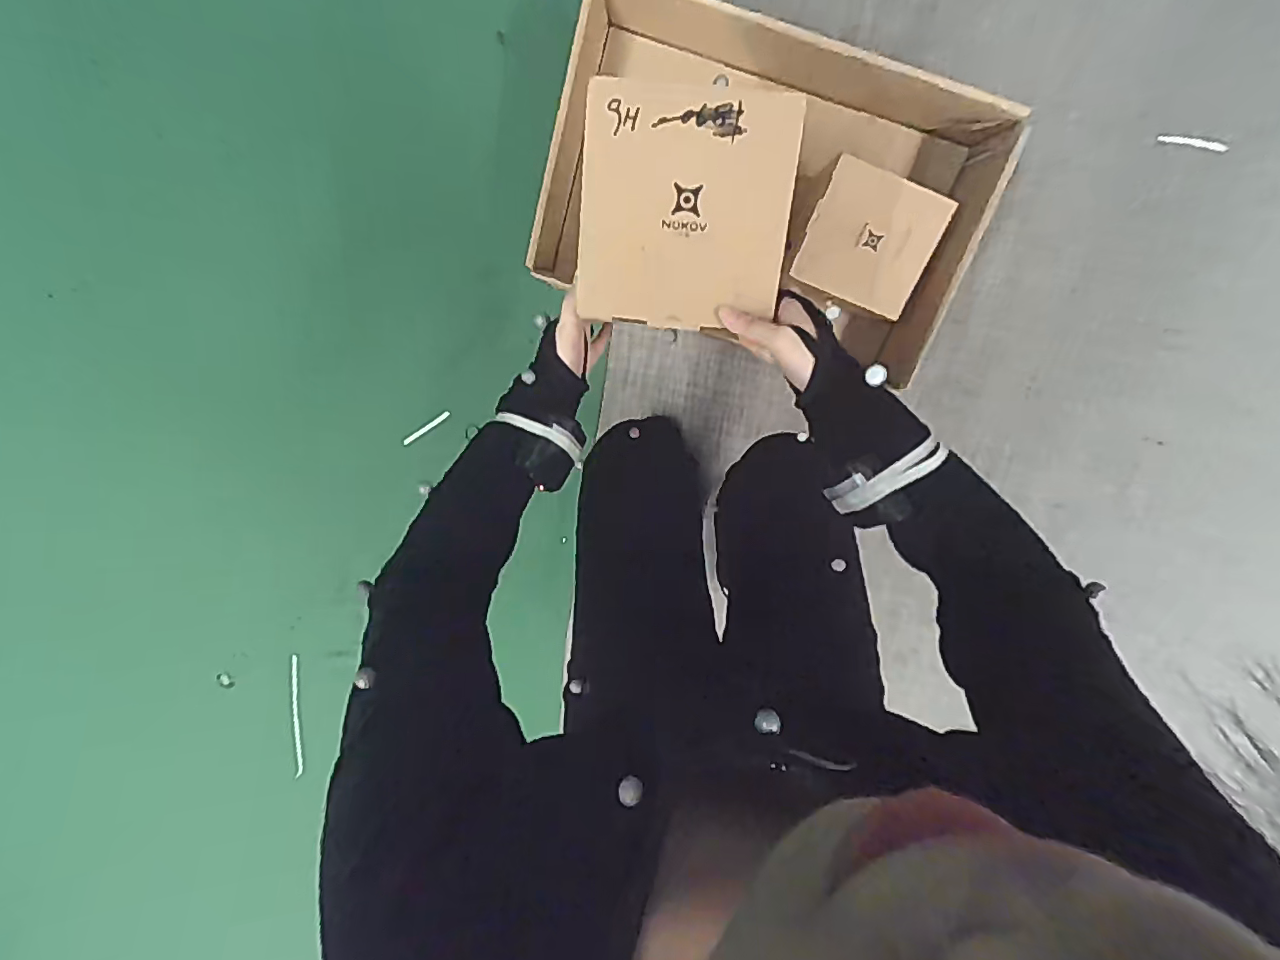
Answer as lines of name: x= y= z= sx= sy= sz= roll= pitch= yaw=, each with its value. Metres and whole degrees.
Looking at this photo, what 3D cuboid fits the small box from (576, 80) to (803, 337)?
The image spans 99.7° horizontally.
small box: x=0.039 y=-0.237 z=0.512 sx=0.168 sy=0.176 sz=0.179 roll=6 pitch=107 yaw=0
